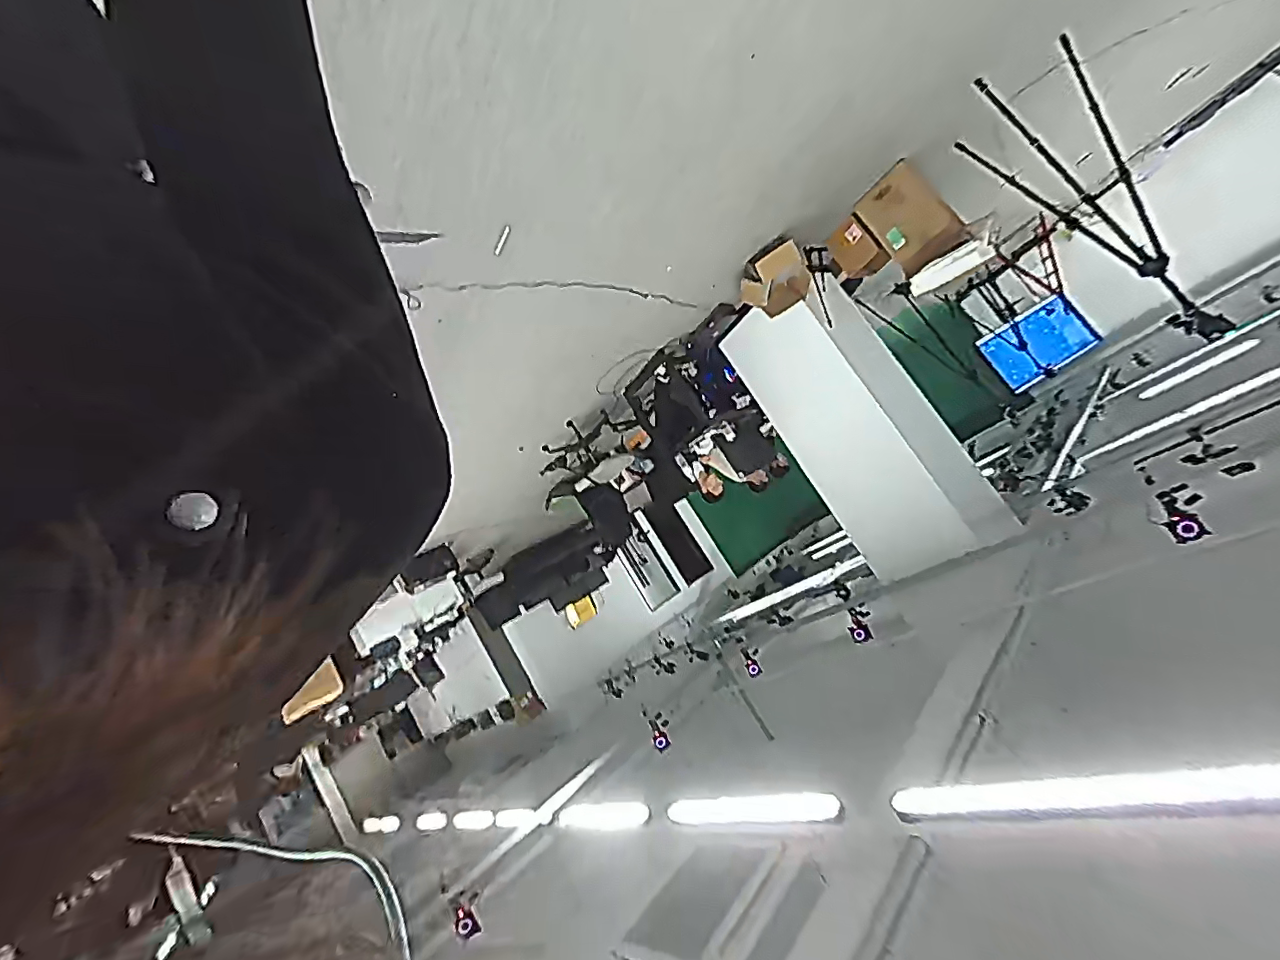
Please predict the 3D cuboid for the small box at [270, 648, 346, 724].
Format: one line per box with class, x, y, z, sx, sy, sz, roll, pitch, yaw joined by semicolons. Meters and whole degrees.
small box;-1.127;0.691;1.831;0.168;0.176;0.179;-24;168;-44
